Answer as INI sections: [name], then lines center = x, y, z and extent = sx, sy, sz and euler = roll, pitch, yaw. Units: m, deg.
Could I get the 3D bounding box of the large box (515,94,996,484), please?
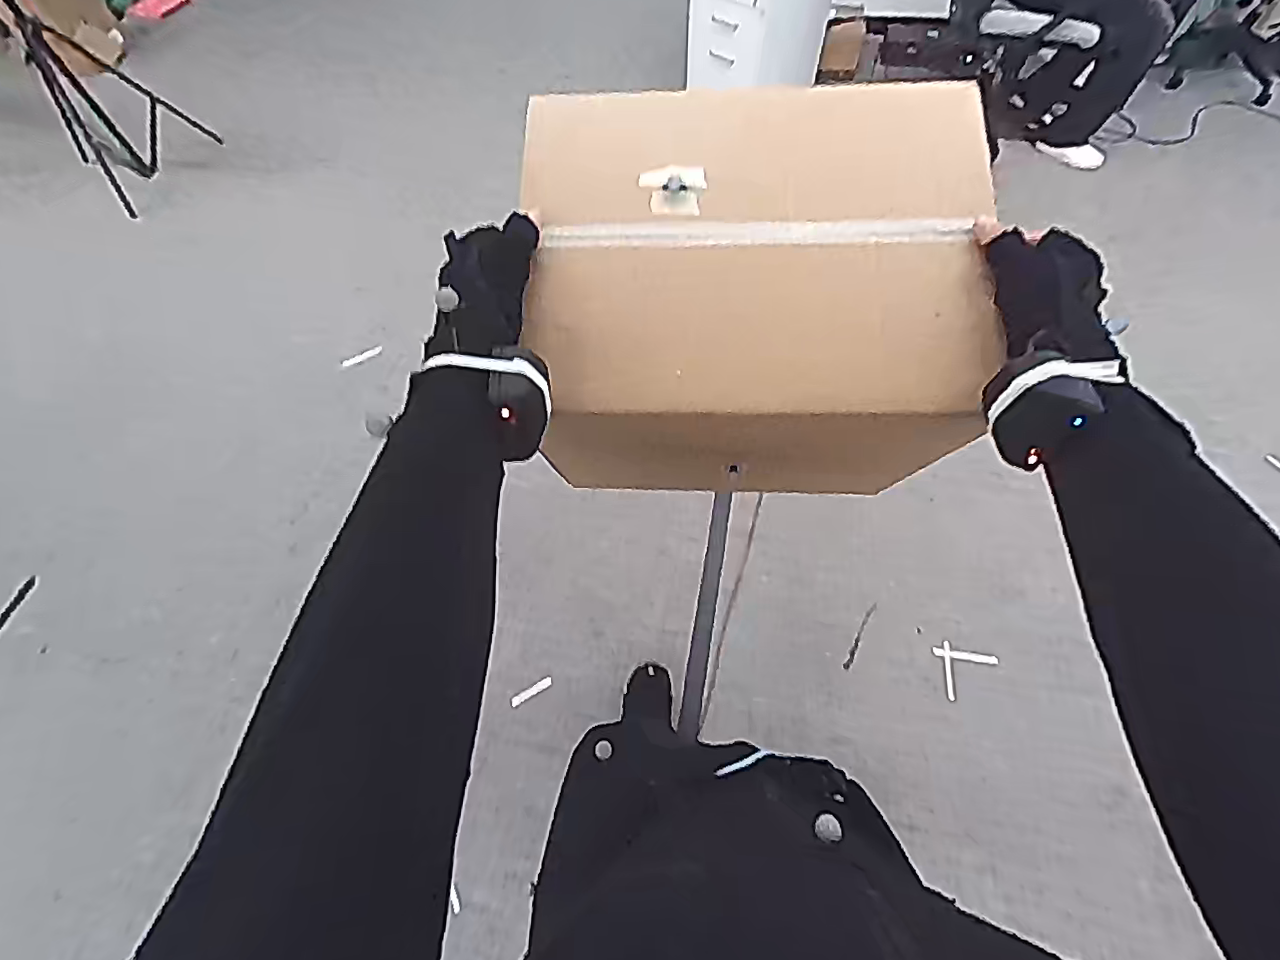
[large box]
center = 0.107, -0.174, 0.626
extent = 0.408, 0.320, 0.320
euler = 1, 76, 5
